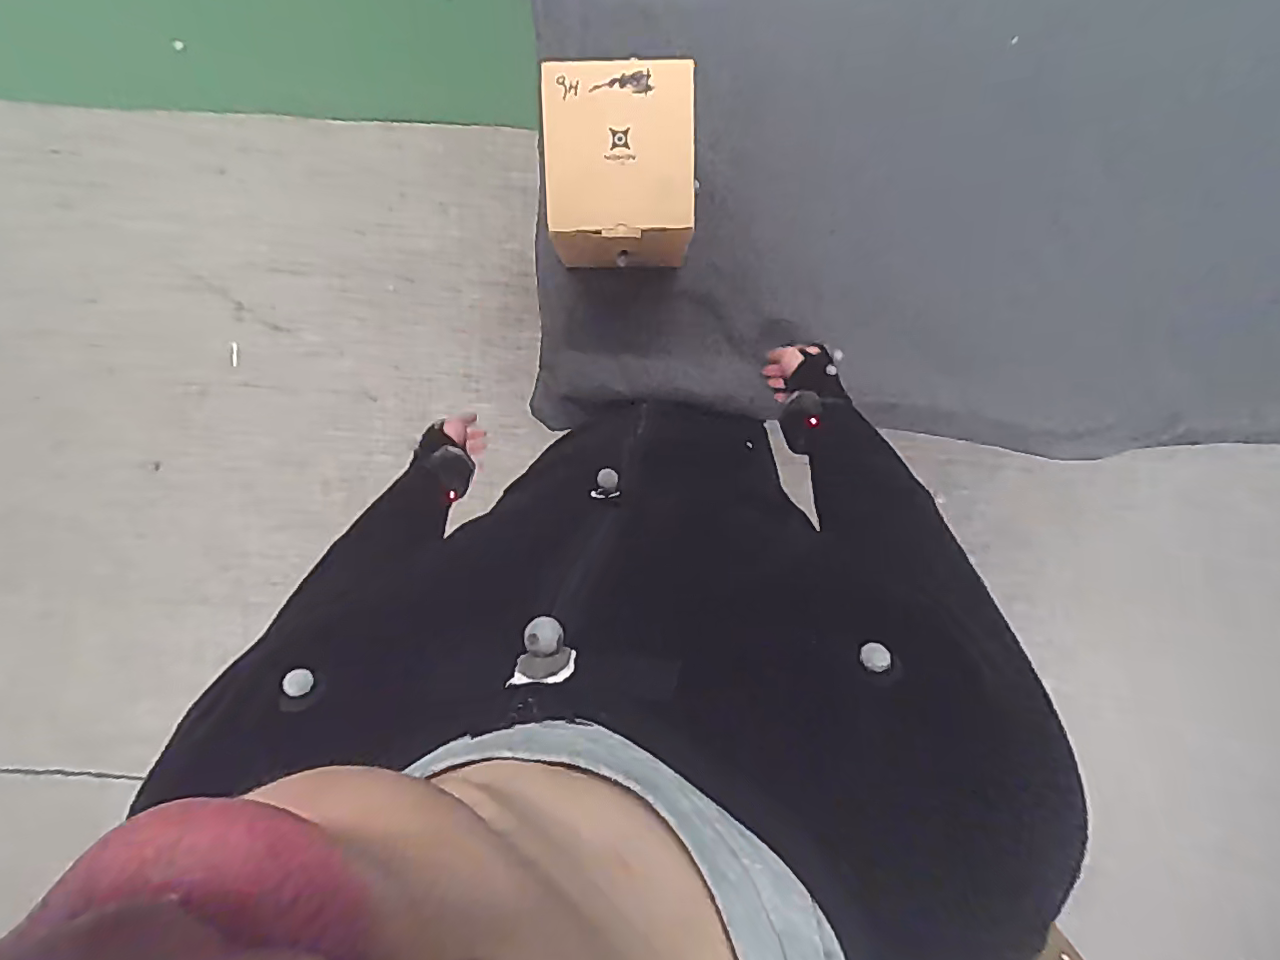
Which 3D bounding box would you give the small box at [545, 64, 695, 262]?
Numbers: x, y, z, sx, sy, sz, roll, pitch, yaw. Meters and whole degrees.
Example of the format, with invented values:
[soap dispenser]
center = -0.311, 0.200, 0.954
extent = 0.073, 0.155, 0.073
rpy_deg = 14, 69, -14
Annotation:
[small box]
center = -0.023, -0.380, 0.679
extent = 0.168, 0.176, 0.179
rpy_deg = -1, 100, -1
